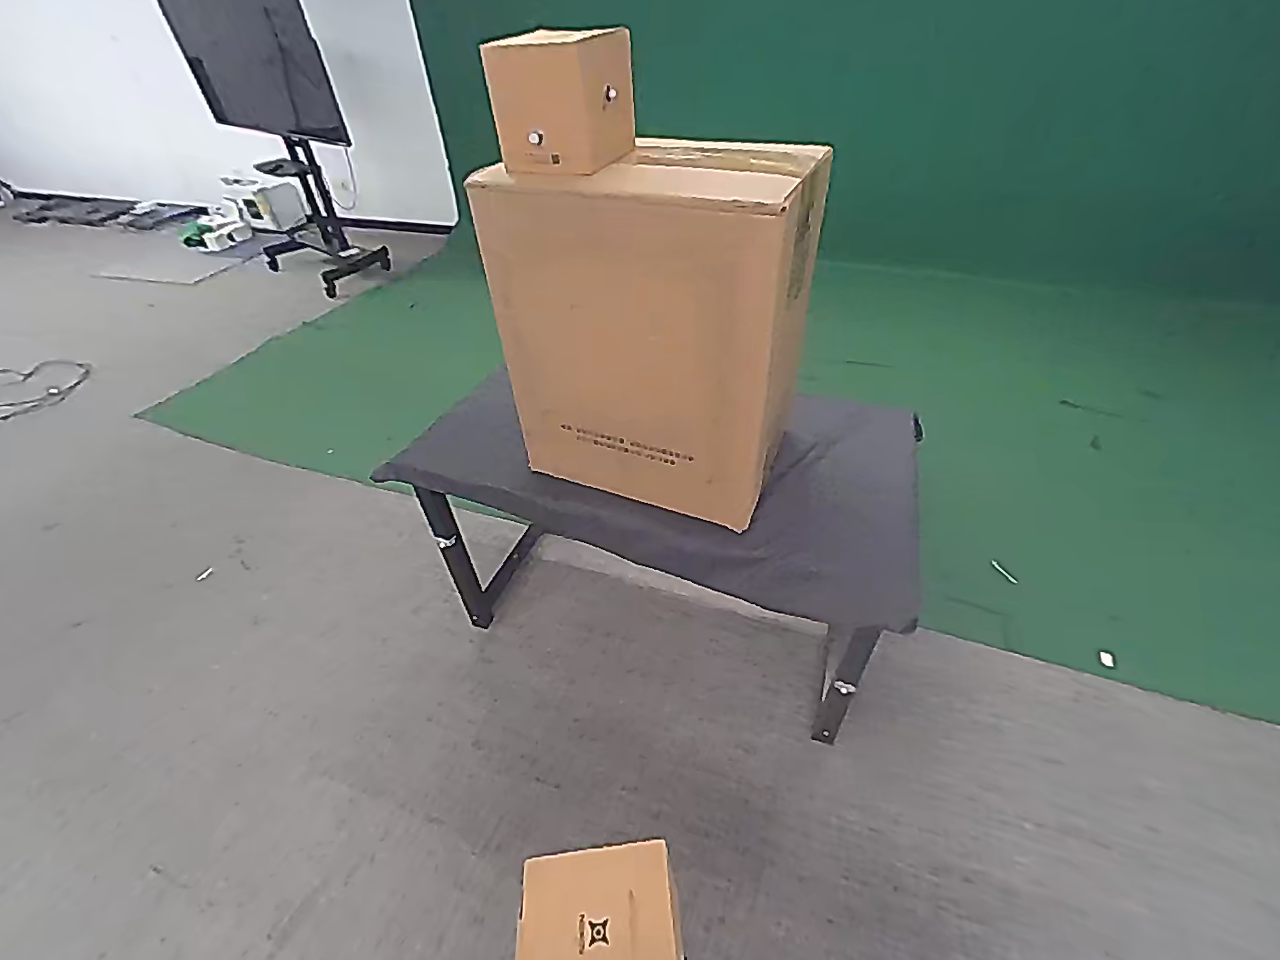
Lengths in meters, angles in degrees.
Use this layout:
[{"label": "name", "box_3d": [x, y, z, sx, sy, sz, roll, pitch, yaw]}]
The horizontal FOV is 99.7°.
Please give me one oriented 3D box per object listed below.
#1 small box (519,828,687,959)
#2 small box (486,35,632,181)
[{"label": "small box", "box_3d": [-0.037, 0.551, 0.646, 0.179, 0.176, 0.168, -8, 37, -1]}, {"label": "small box", "box_3d": [-0.119, -0.610, 0.885, 0.168, 0.176, 0.179, 14, 47, 20]}]
